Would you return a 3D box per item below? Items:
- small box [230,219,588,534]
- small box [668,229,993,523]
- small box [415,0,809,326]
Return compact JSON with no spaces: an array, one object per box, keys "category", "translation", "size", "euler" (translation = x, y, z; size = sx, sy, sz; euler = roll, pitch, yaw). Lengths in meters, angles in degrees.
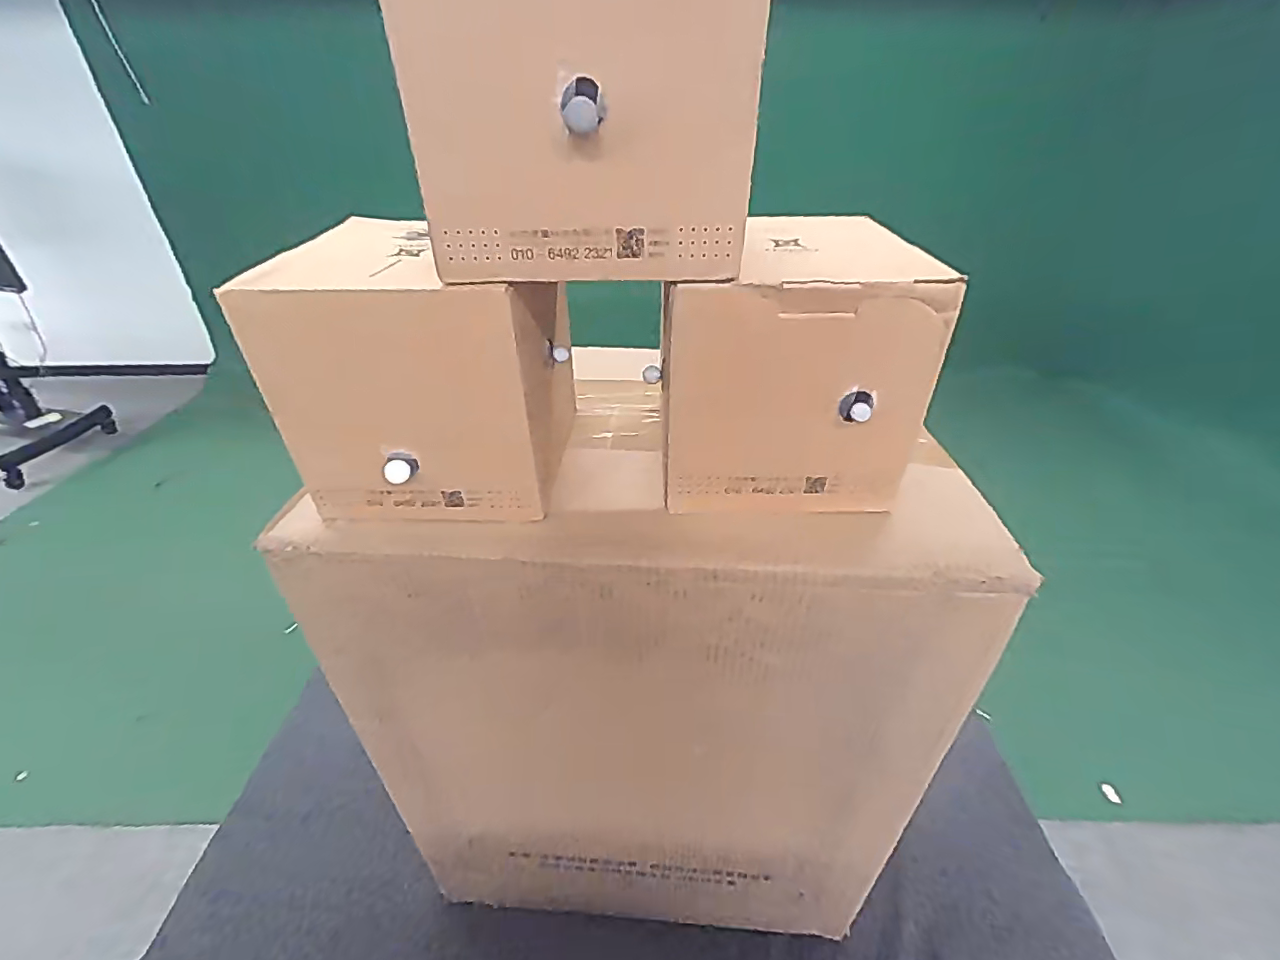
[{"category":"small box","translation":[-0.134,-0.083,0.398],"size":[0.168,0.176,0.179],"euler":[2,37,5]},{"category":"small box","translation":[0.111,-0.081,0.407],"size":[0.168,0.176,0.179],"euler":[1,36,-2]},{"category":"small box","translation":[-0.013,-0.197,0.317],"size":[0.168,0.176,0.179],"euler":[-3,37,-4]}]
